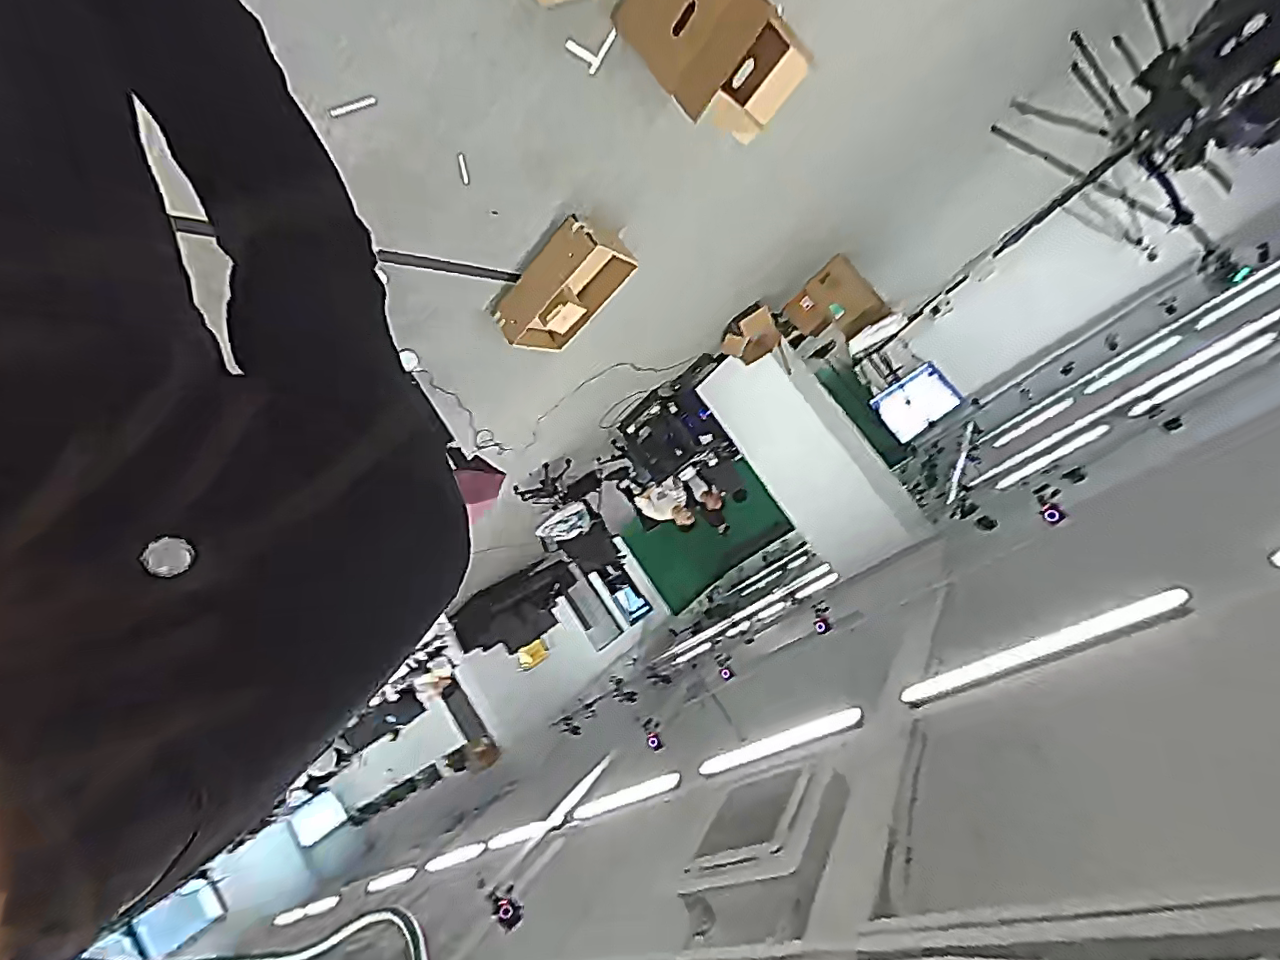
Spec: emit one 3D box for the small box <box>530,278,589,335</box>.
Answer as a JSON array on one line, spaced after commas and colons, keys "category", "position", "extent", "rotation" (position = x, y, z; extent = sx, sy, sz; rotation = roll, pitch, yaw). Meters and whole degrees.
[{"category": "small box", "position": [-0.378, -0.808, 2.512], "extent": [0.168, 0.176, 0.179], "rotation": [-39, 170, 20]}]
